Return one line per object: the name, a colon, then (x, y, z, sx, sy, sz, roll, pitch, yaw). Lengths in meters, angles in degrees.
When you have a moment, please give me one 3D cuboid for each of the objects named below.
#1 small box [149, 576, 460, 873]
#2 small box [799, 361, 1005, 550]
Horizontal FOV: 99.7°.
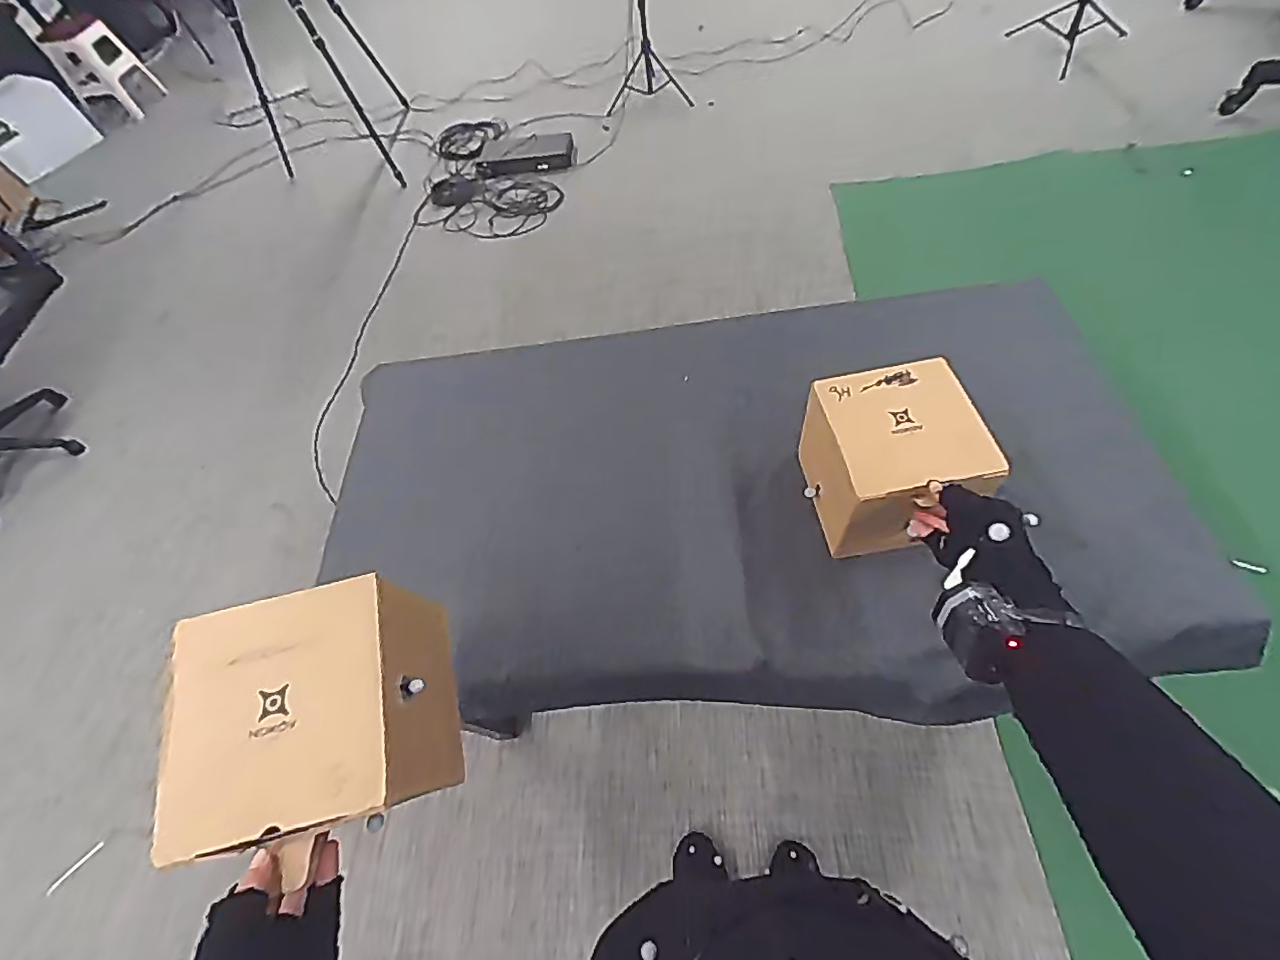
small box: (-0.270, 0.204, 0.477, 0.168, 0.176, 0.179, -13, 66, -4)
small box: (0.315, -0.021, 0.695, 0.168, 0.176, 0.179, -9, 59, 2)
